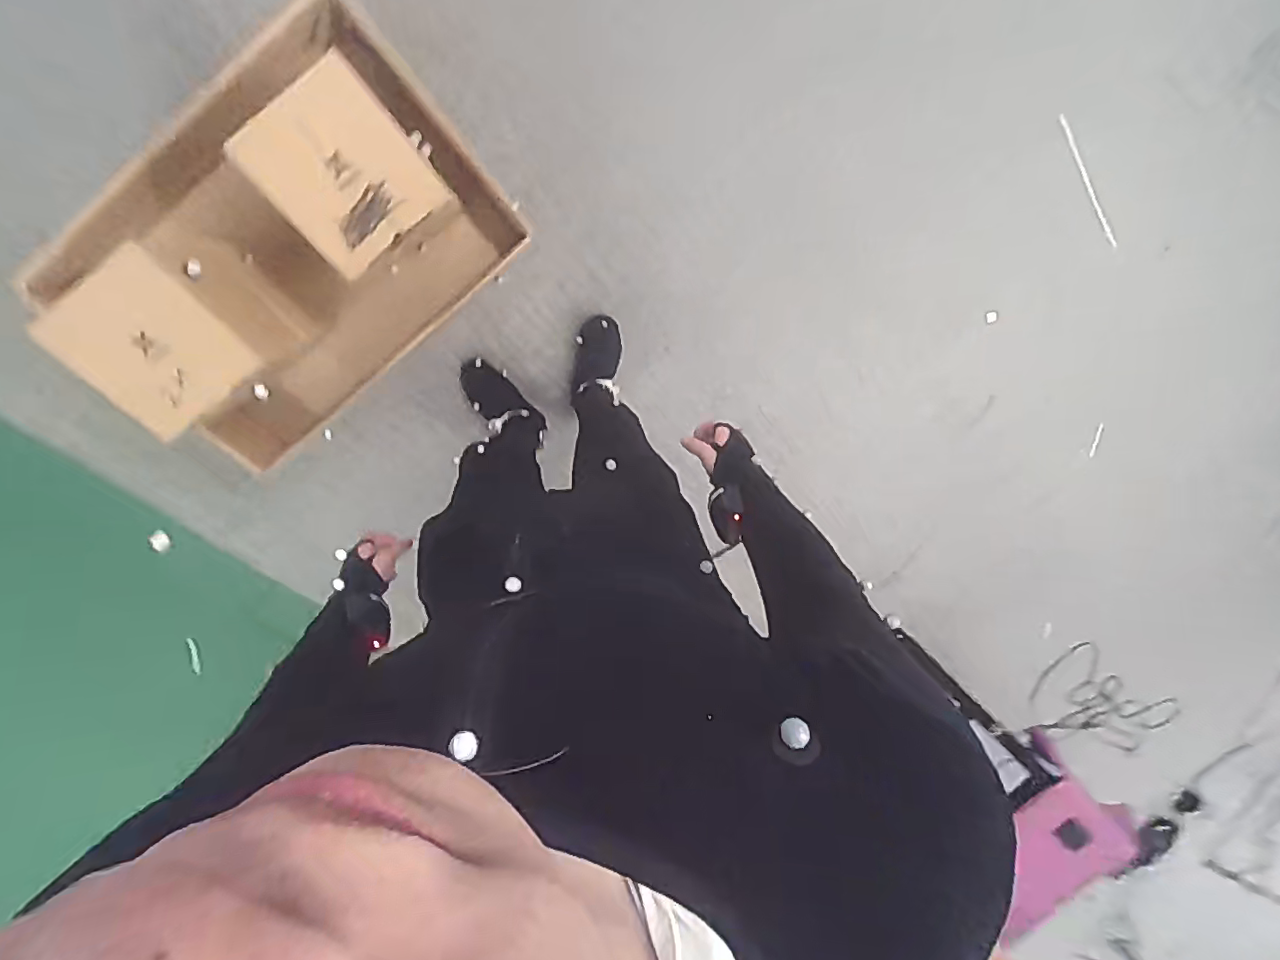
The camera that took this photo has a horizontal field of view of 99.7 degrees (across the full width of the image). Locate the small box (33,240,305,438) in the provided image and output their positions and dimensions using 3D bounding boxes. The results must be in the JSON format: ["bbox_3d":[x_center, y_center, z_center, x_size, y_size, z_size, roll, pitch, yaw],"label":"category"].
[{"bbox_3d":[-0.598,-0.189,0.718,0.168,0.176,0.179,-38,115,4],"label":"small box"}]

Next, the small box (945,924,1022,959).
[{"bbox_3d":[1.081,1.506,1.647,0.179,0.176,0.168,41,98,-23],"label":"small box"}]

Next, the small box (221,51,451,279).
[{"bbox_3d":[-0.365,-0.386,0.695,0.168,0.176,0.179,-39,116,4],"label":"small box"}]
